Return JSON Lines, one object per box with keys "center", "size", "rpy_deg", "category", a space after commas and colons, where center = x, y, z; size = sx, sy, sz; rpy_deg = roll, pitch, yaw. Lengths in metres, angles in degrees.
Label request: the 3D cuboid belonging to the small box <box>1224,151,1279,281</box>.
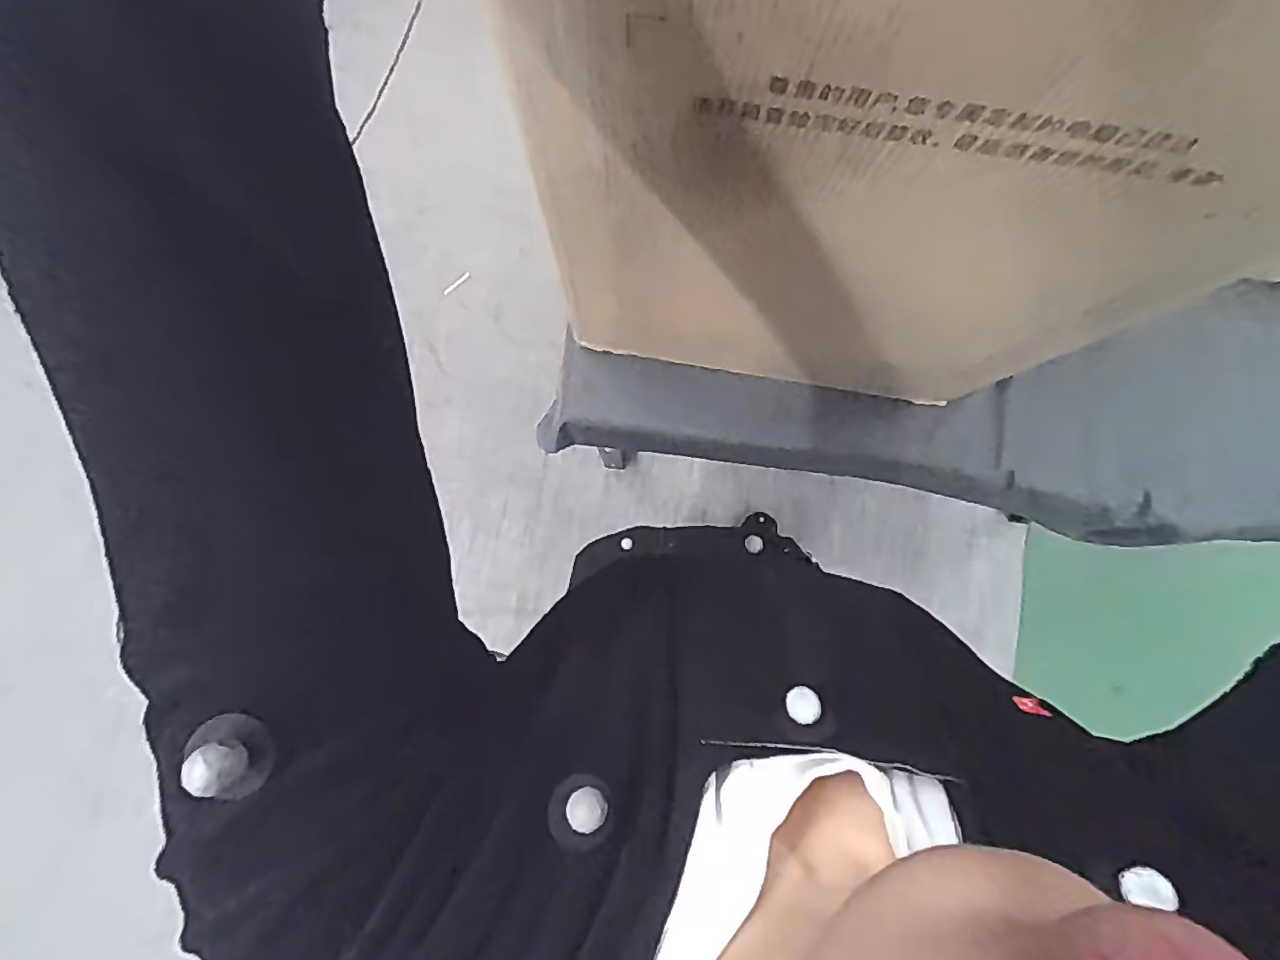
{"center": [0.974, -0.381, 0.736], "size": [0.179, 0.176, 0.168], "rpy_deg": [8, 85, 0], "category": "small box"}
